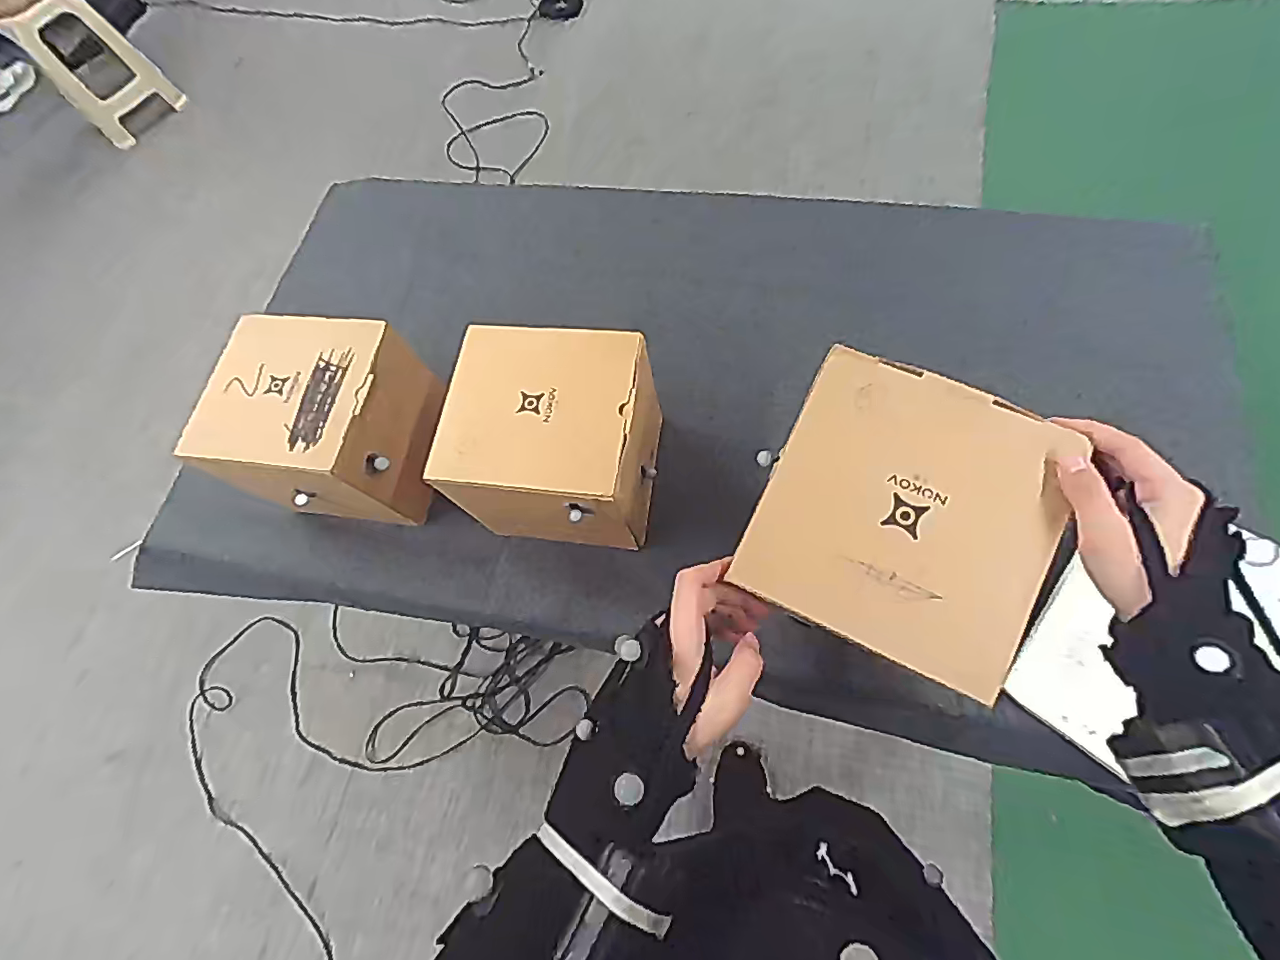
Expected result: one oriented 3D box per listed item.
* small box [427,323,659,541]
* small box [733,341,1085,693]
[{"bbox_3d":[-0.082,-0.041,0.561,0.179,0.176,0.168,5,69,9],"label":"small box"},{"bbox_3d":[0.177,0.030,0.415,0.168,0.176,0.179,24,84,13],"label":"small box"}]
